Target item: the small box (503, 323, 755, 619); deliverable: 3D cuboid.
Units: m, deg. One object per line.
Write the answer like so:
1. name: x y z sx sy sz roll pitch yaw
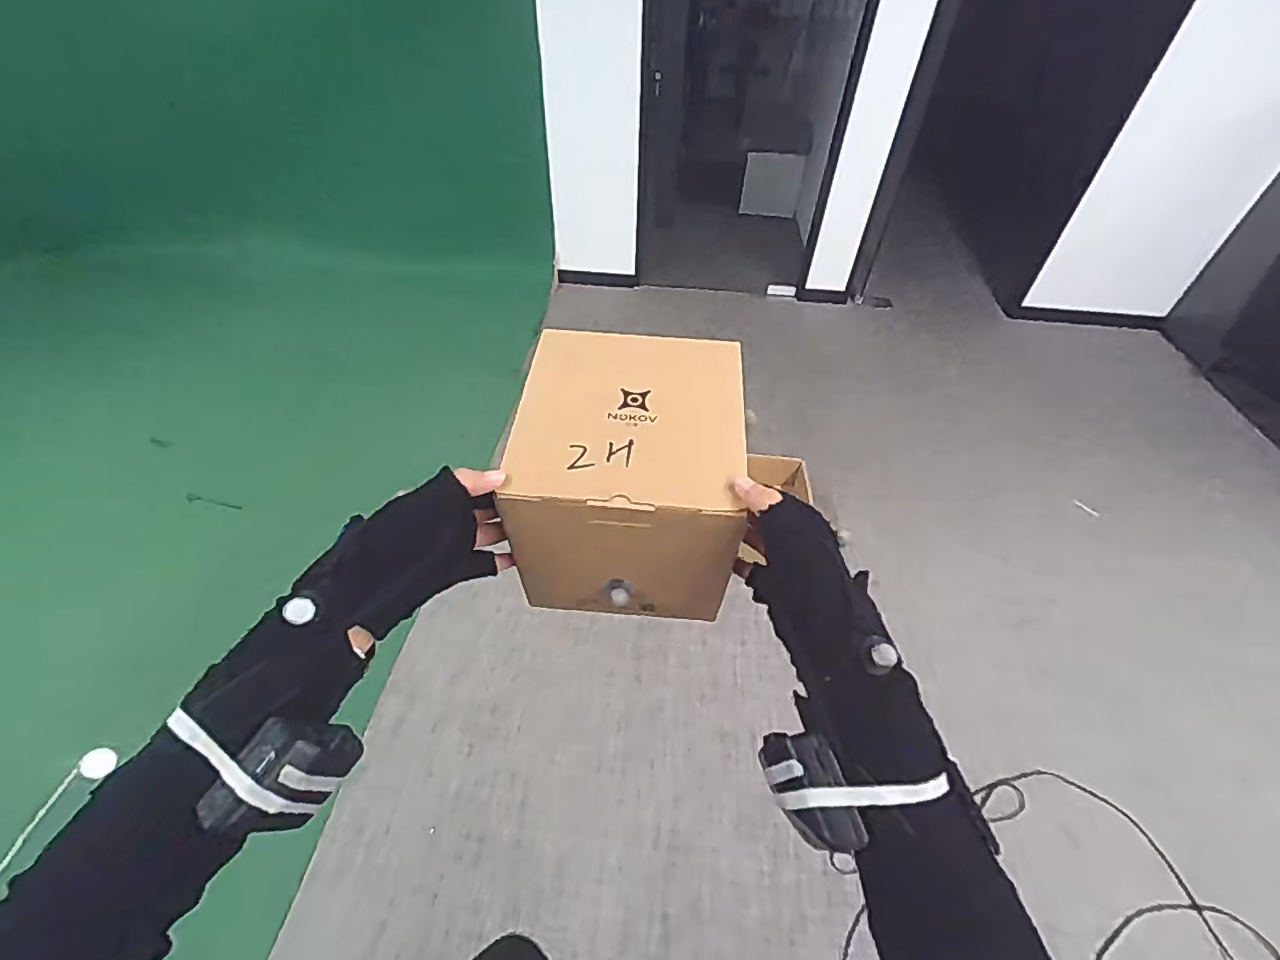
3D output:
1. small box: -0.002 -0.005 0.456 0.168 0.176 0.179 5 53 2
